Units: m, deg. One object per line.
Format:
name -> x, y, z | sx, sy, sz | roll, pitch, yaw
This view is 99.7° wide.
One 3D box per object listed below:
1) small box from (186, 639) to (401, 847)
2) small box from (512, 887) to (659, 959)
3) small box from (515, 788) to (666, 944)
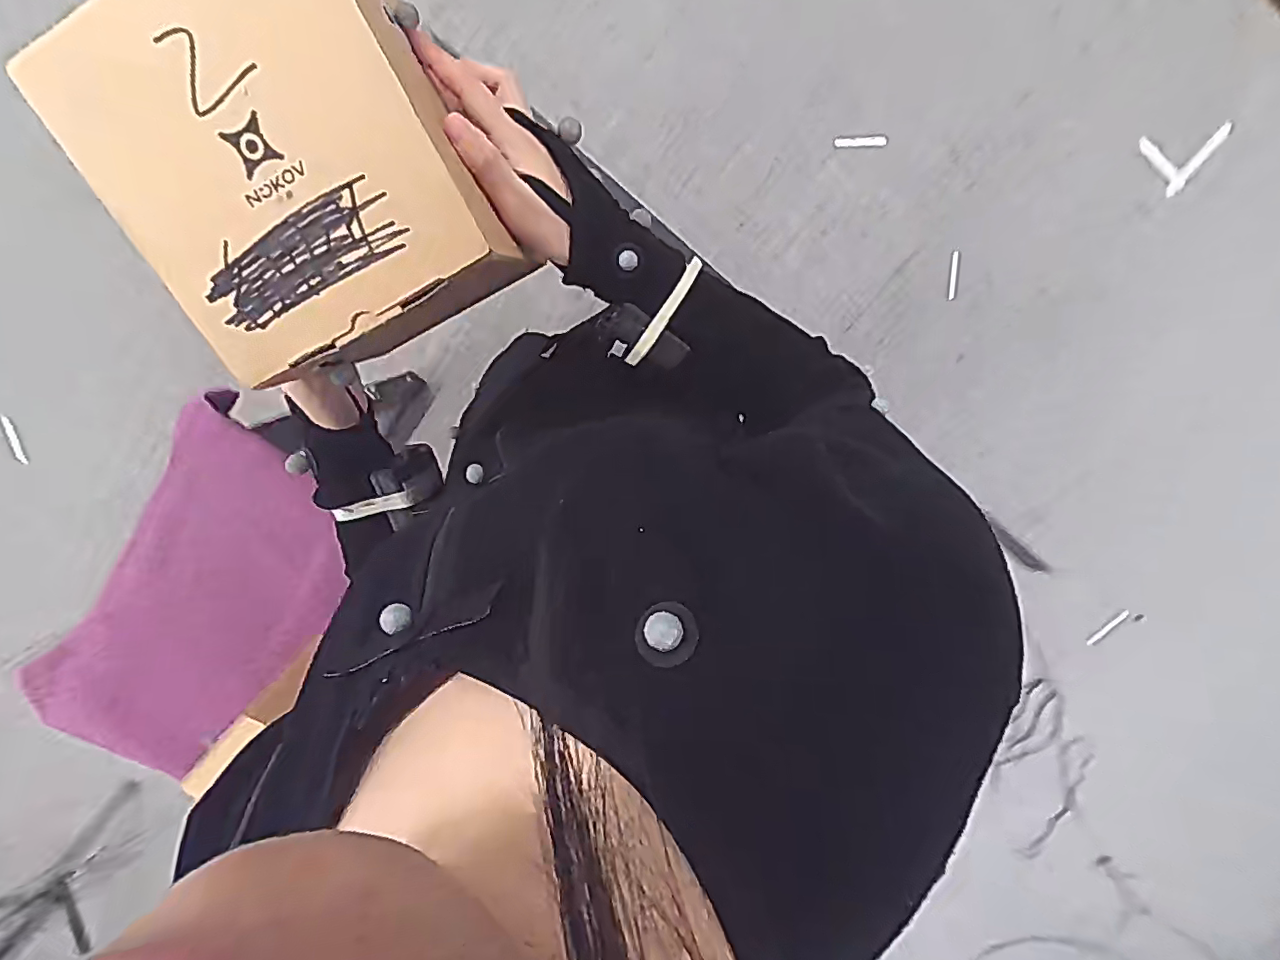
small box -> -0.485, 0.373, 0.786 | 0.168, 0.176, 0.179 | 41, 104, -14
small box -> -0.080, 0.710, 0.733 | 0.168, 0.176, 0.179 | 36, 106, -12
small box -> -0.077, 0.652, 0.886 | 0.168, 0.176, 0.179 | 37, 105, -12
